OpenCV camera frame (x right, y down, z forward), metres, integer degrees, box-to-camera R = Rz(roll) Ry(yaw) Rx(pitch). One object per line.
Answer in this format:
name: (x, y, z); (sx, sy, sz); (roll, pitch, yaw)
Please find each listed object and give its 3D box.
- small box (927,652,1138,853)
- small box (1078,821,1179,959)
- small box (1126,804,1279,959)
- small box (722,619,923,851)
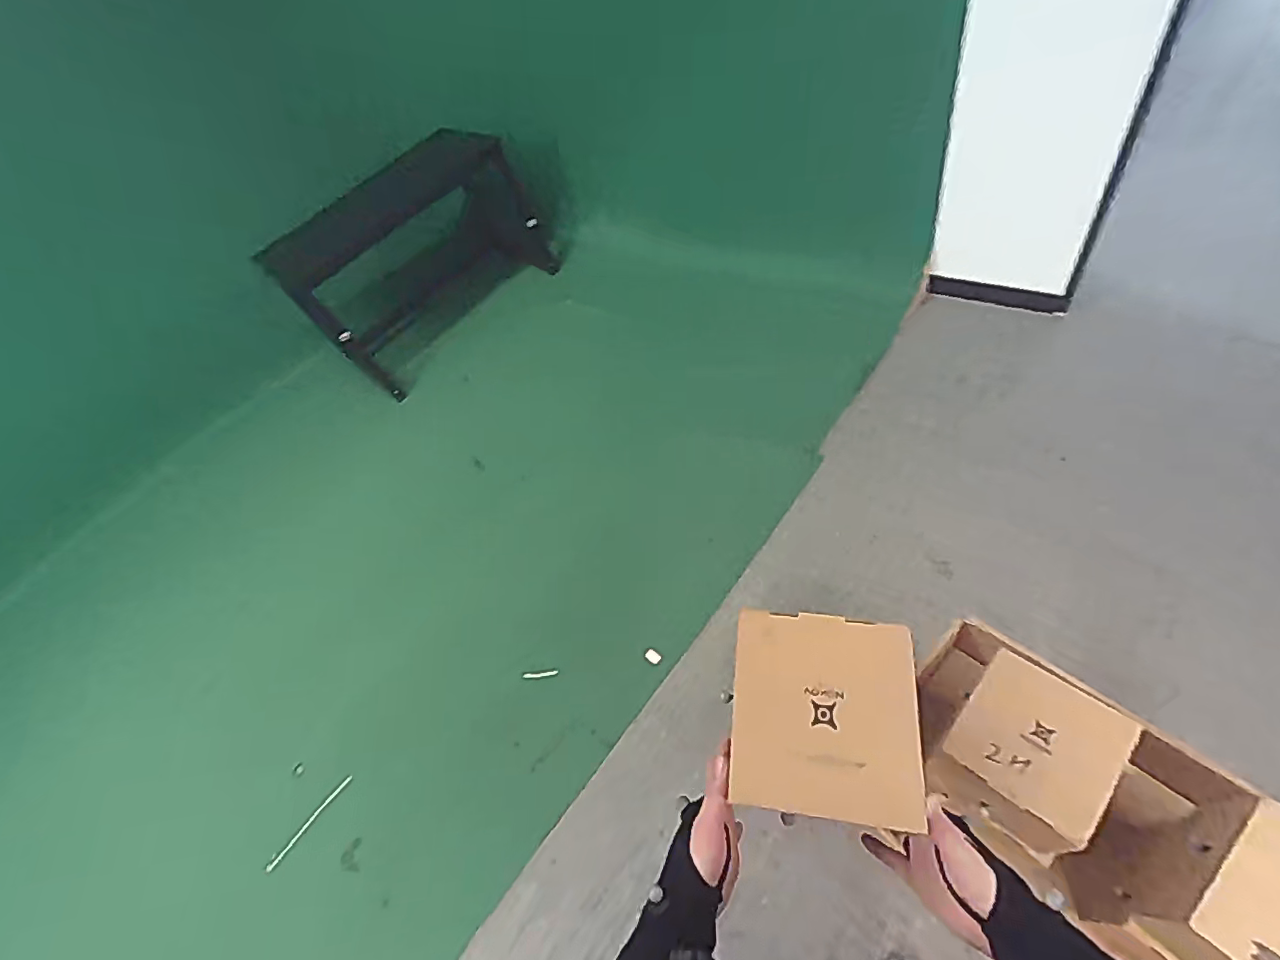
small box: (0.529, 0.381, 0.756); (0.168, 0.176, 0.179); (33, 71, 34)
small box: (0.748, 0.603, 0.736); (0.179, 0.176, 0.168); (-44, 54, -13)
small box: (0.709, 0.505, 0.609); (0.179, 0.176, 0.168); (-42, 54, -12)
small box: (0.175, 0.259, 0.566); (0.168, 0.176, 0.179); (4, 64, 10)
